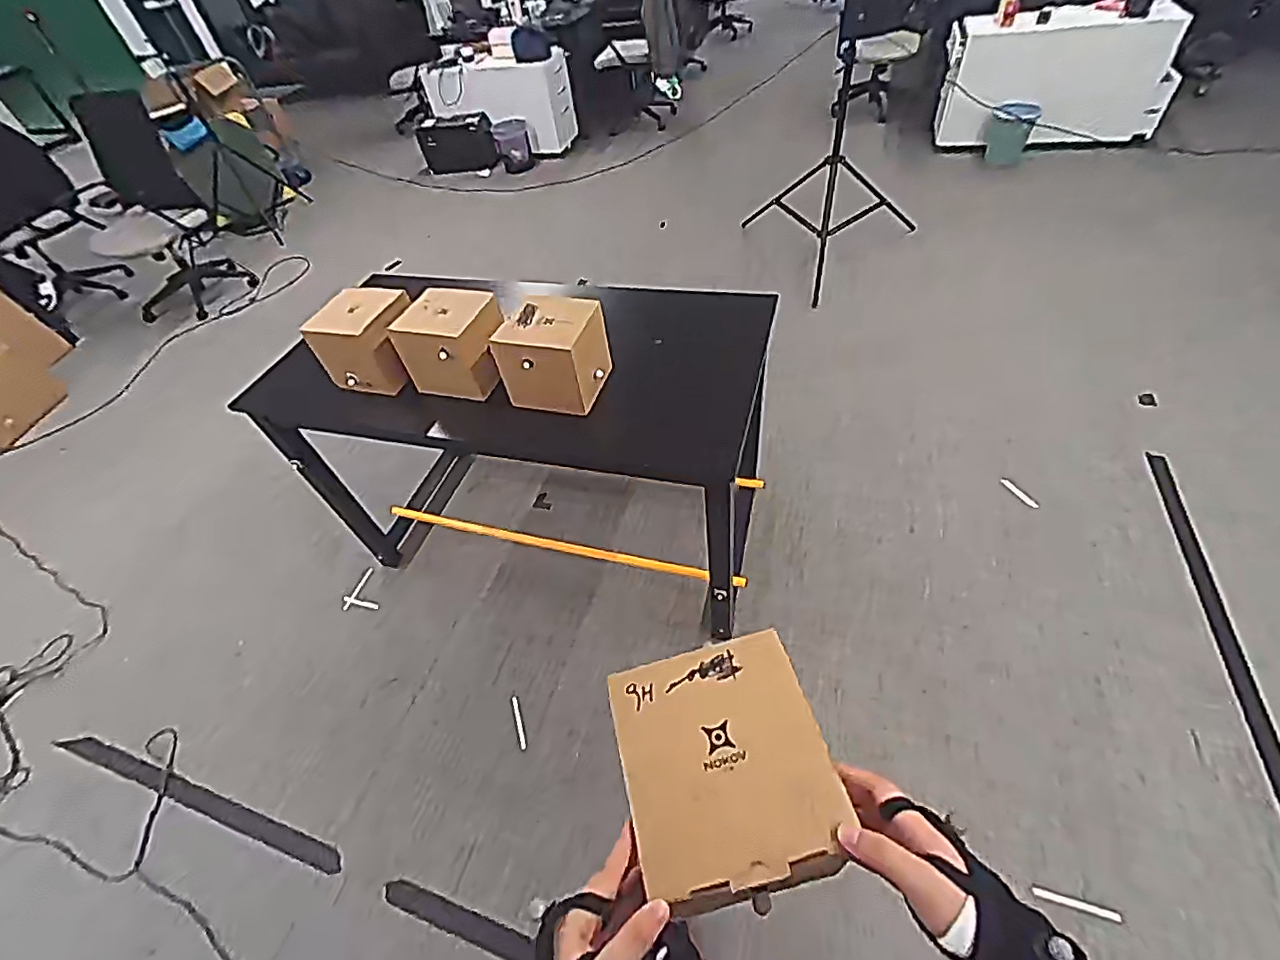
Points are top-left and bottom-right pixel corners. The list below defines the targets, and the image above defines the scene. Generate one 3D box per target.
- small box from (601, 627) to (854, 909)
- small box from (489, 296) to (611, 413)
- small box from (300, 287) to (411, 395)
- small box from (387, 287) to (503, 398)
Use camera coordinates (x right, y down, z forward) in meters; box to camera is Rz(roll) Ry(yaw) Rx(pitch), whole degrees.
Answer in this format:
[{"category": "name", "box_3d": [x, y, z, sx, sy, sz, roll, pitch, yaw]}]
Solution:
[{"category": "small box", "box_3d": [0.073, 0.269, 0.500, 0.168, 0.176, 0.179, -15, 49, -2]}, {"category": "small box", "box_3d": [-0.176, -0.258, 1.116, 0.179, 0.176, 0.168, 10, 52, 16]}, {"category": "small box", "box_3d": [-0.616, -0.319, 1.238, 0.168, 0.176, 0.179, 8, 52, 17]}, {"category": "small box", "box_3d": [-0.403, -0.298, 1.185, 0.179, 0.176, 0.168, 10, 51, 17]}]
